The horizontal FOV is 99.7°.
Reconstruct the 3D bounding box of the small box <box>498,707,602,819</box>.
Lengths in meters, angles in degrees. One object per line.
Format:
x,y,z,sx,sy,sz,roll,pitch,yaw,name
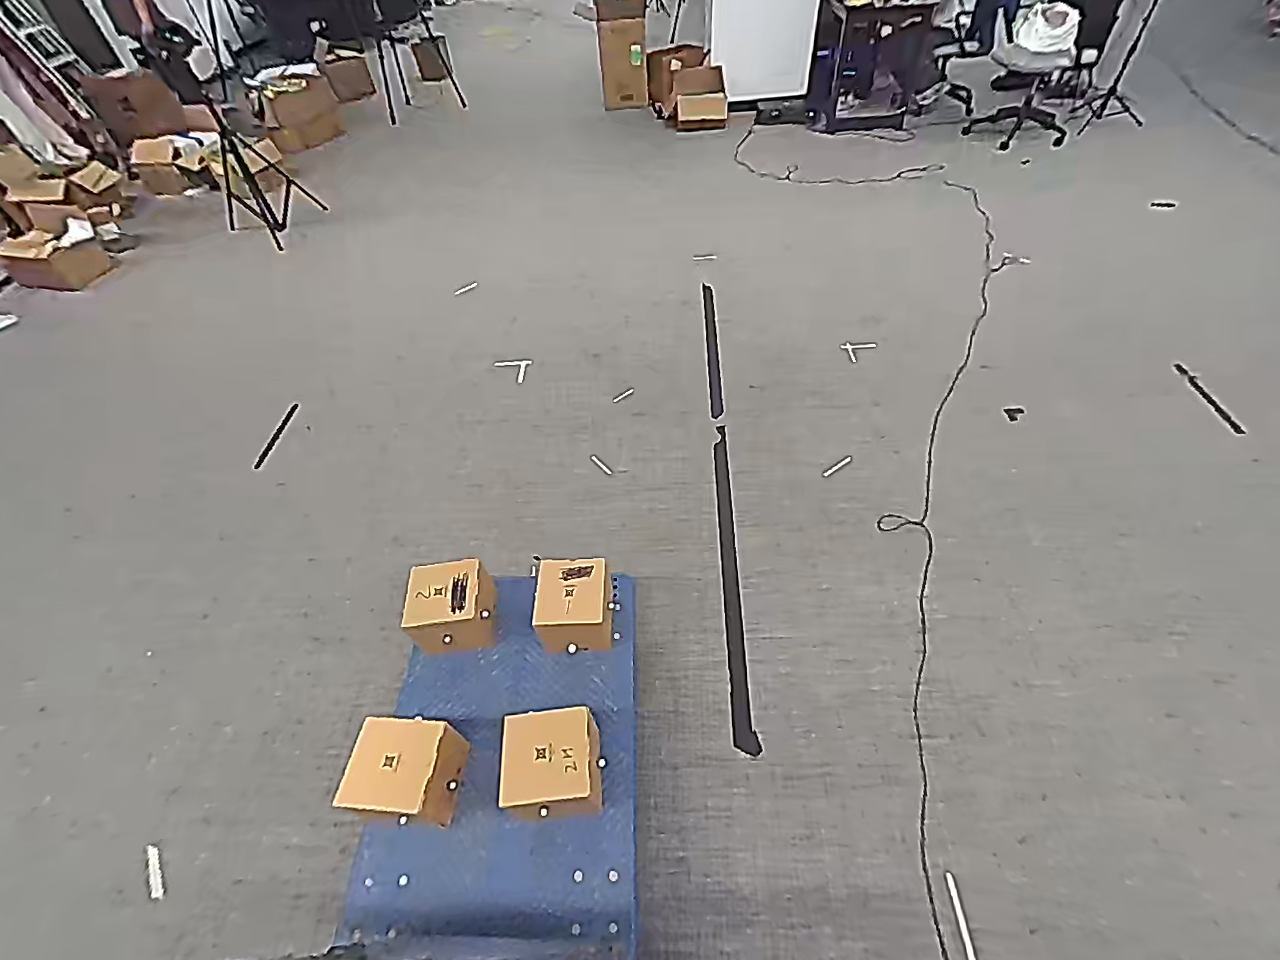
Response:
-0.178,0.587,1.116,0.179,0.176,0.168,-6,50,0,small box

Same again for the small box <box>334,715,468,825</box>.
-0.485,0.606,1.128,0.179,0.176,0.168,2,49,5,small box

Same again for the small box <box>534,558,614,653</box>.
-0.156,0.313,1.348,0.168,0.176,0.179,-2,51,3,small box
